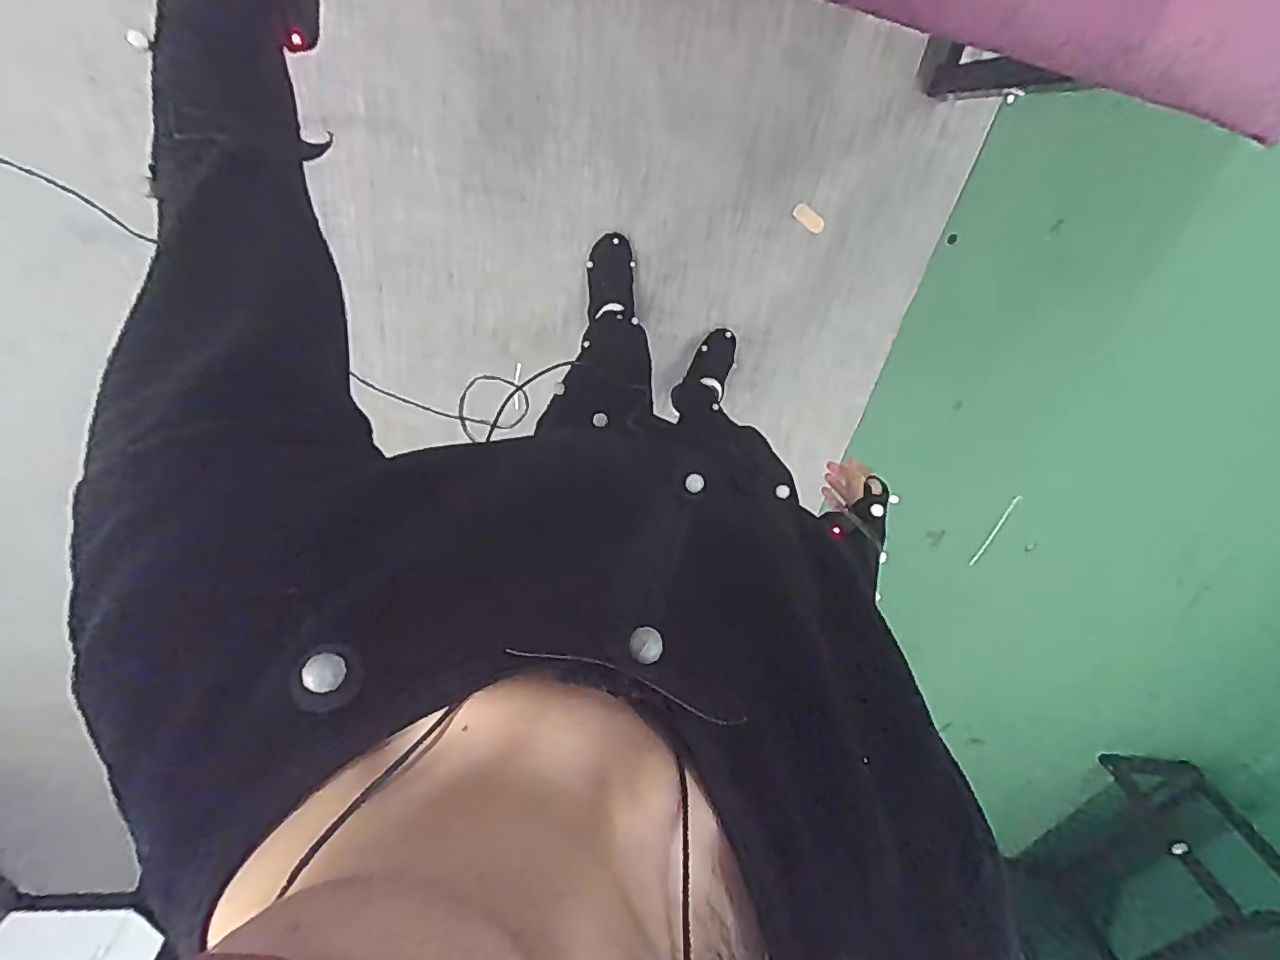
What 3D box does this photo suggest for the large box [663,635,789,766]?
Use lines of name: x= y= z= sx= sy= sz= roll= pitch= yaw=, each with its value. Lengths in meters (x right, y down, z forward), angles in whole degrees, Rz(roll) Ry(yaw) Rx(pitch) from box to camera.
large box: x=0.308 y=0.822 z=2.032 sx=0.408 sy=0.320 sz=0.320 roll=-6 pitch=124 yaw=-2

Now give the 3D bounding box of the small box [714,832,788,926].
small box: x=0.311 y=1.139 z=1.554 sx=0.168 sy=0.176 sz=0.179 roll=-2 pitch=121 yaw=-3

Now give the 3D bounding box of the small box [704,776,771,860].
small box: x=0.297 y=1.049 z=1.691 sx=0.168 sy=0.176 sz=0.179 roll=-1 pitch=122 yaw=-4

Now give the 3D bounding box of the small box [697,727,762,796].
small box: x=0.297 y=0.958 z=1.827 sx=0.179 sy=0.176 sz=0.168 roll=-2 pitch=121 yaw=-3
